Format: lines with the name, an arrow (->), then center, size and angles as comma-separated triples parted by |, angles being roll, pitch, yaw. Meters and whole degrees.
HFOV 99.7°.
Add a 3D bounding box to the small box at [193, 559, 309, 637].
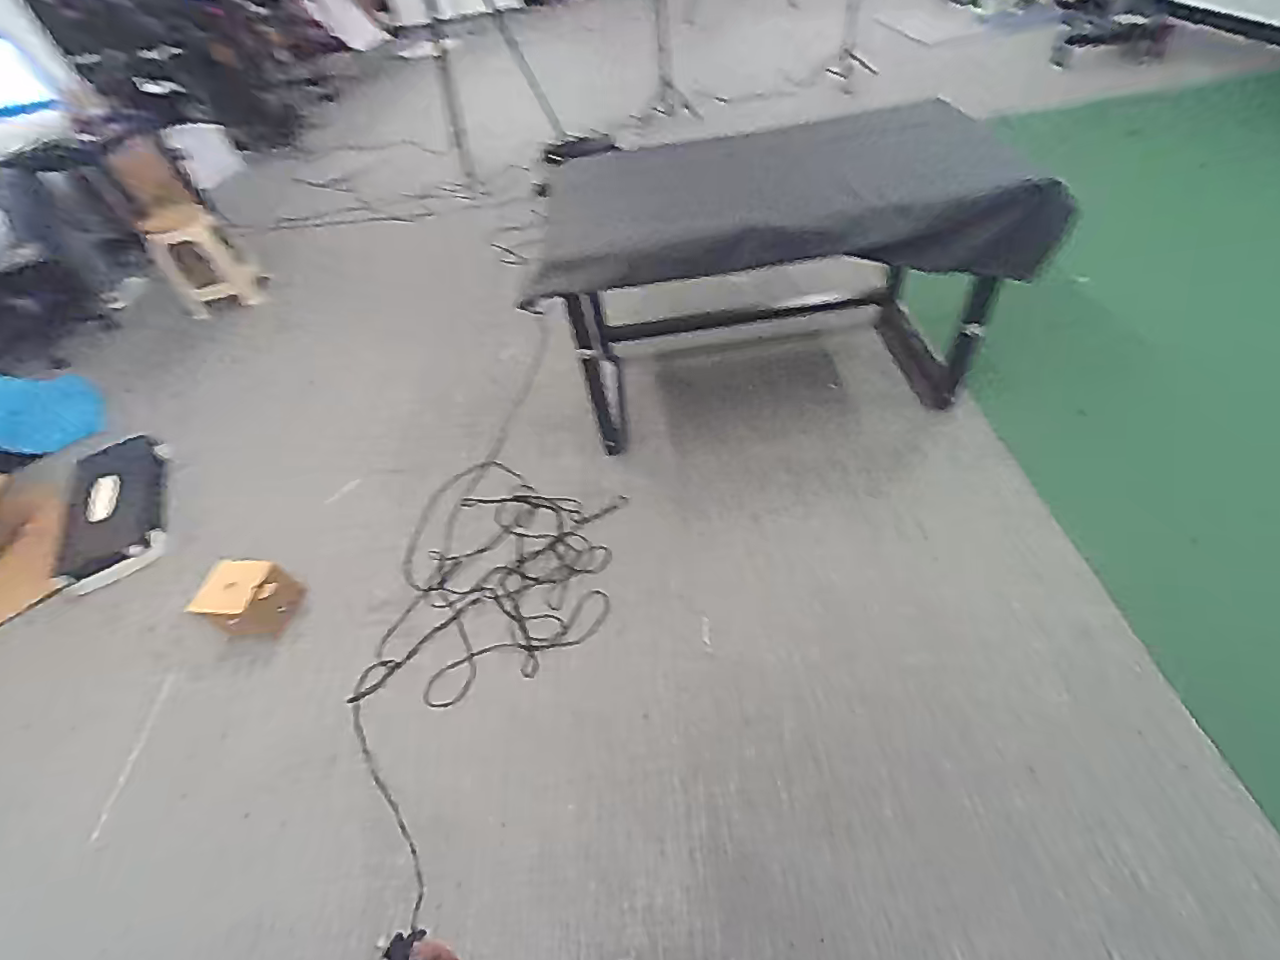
small box -> -1.125, 0.347, 1.580 | 0.179, 0.176, 0.168 | 1, 50, 9
